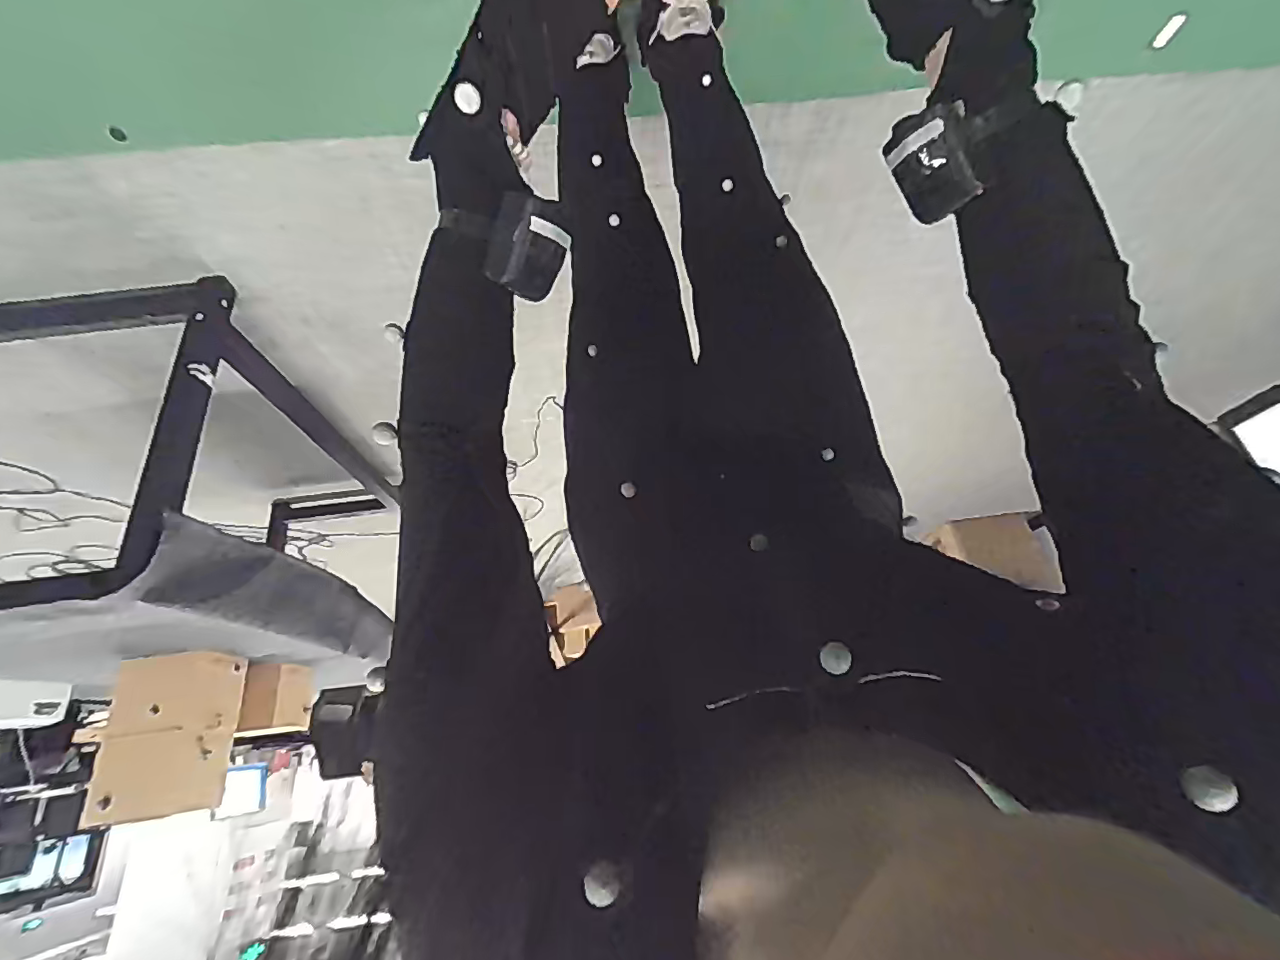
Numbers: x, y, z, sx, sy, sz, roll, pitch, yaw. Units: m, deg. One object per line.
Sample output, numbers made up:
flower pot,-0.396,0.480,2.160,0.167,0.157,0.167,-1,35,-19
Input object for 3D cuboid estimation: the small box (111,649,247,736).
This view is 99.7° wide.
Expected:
small box,-1.063,0.497,1.268,0.179,0.176,0.168,-7,155,-1

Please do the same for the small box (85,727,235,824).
small box,-1.057,0.652,1.211,0.179,0.176,0.168,-8,156,0
